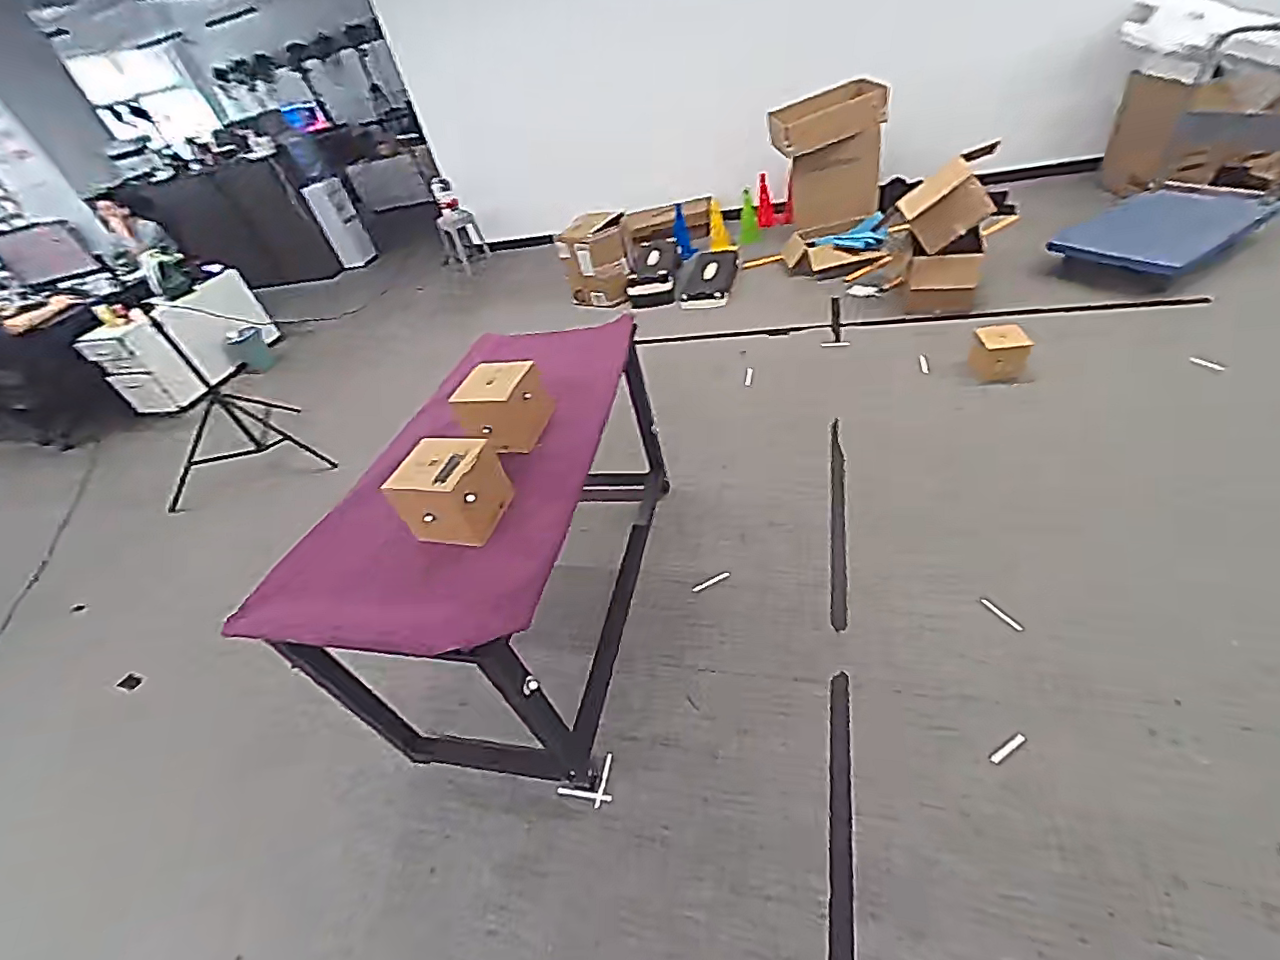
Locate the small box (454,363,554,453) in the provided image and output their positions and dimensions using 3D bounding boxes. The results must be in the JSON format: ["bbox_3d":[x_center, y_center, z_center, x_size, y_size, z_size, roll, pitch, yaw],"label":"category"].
[{"bbox_3d":[-0.342,-0.186,1.407,0.168,0.176,0.179,3,44,19],"label":"small box"}]

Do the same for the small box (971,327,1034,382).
[{"bbox_3d":[1.561,-0.535,2.334,0.168,0.176,0.179,-4,42,13],"label":"small box"}]
